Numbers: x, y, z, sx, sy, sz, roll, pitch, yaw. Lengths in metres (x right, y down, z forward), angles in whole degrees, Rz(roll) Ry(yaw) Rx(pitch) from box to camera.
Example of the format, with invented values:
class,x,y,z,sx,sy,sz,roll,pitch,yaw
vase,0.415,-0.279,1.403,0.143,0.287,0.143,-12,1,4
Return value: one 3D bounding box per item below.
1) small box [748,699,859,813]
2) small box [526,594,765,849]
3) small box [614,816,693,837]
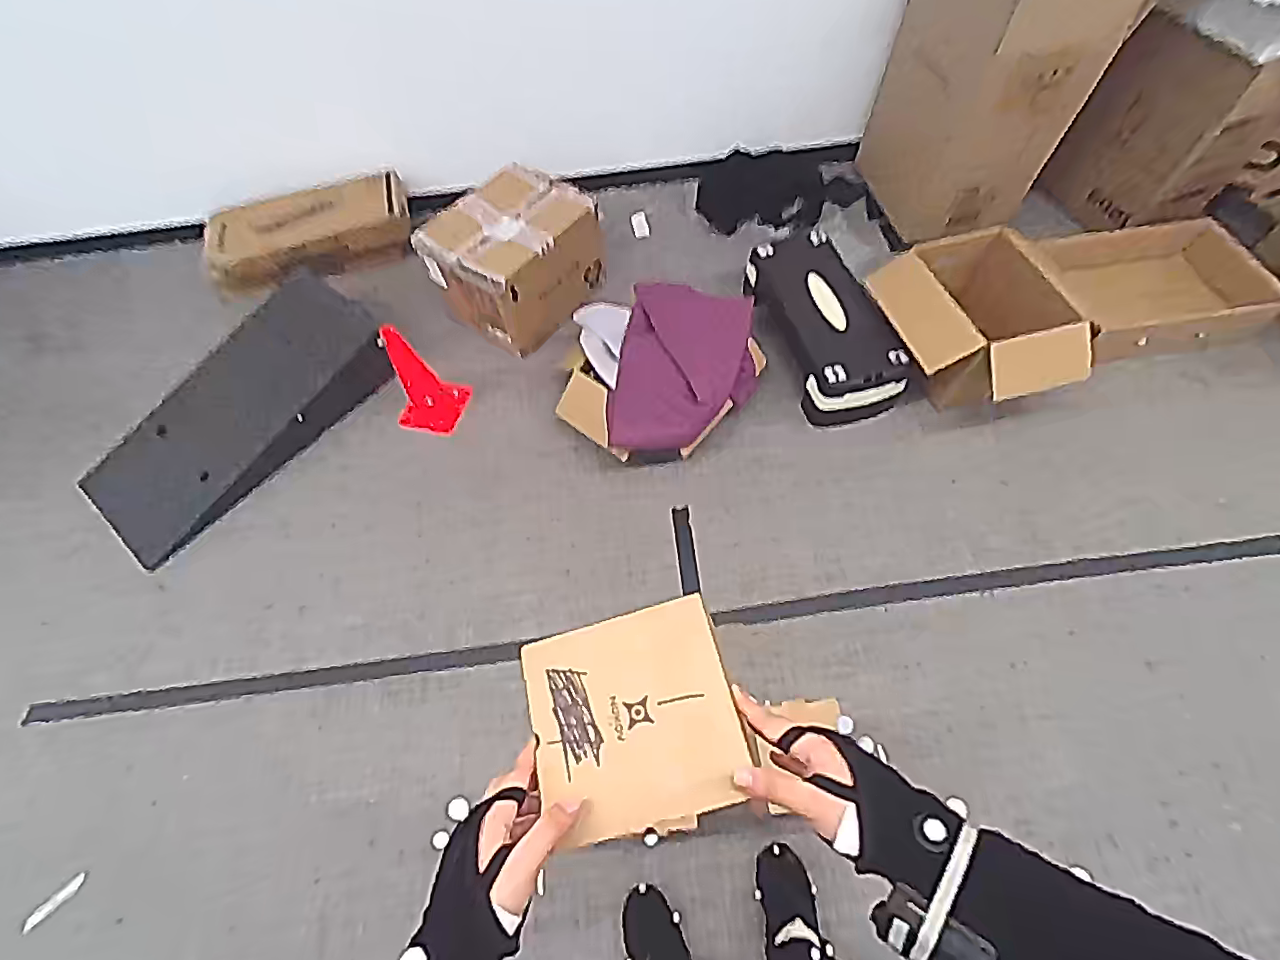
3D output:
class,x,y,z,sx,sy,sz,roll,pitch,yaw
small box,0.300,0.539,1.056,0.168,0.176,0.179,-7,62,0
small box,0.012,0.232,0.519,0.179,0.176,0.168,-18,60,4
small box,0.027,0.665,1.186,0.168,0.176,0.179,-6,61,1
